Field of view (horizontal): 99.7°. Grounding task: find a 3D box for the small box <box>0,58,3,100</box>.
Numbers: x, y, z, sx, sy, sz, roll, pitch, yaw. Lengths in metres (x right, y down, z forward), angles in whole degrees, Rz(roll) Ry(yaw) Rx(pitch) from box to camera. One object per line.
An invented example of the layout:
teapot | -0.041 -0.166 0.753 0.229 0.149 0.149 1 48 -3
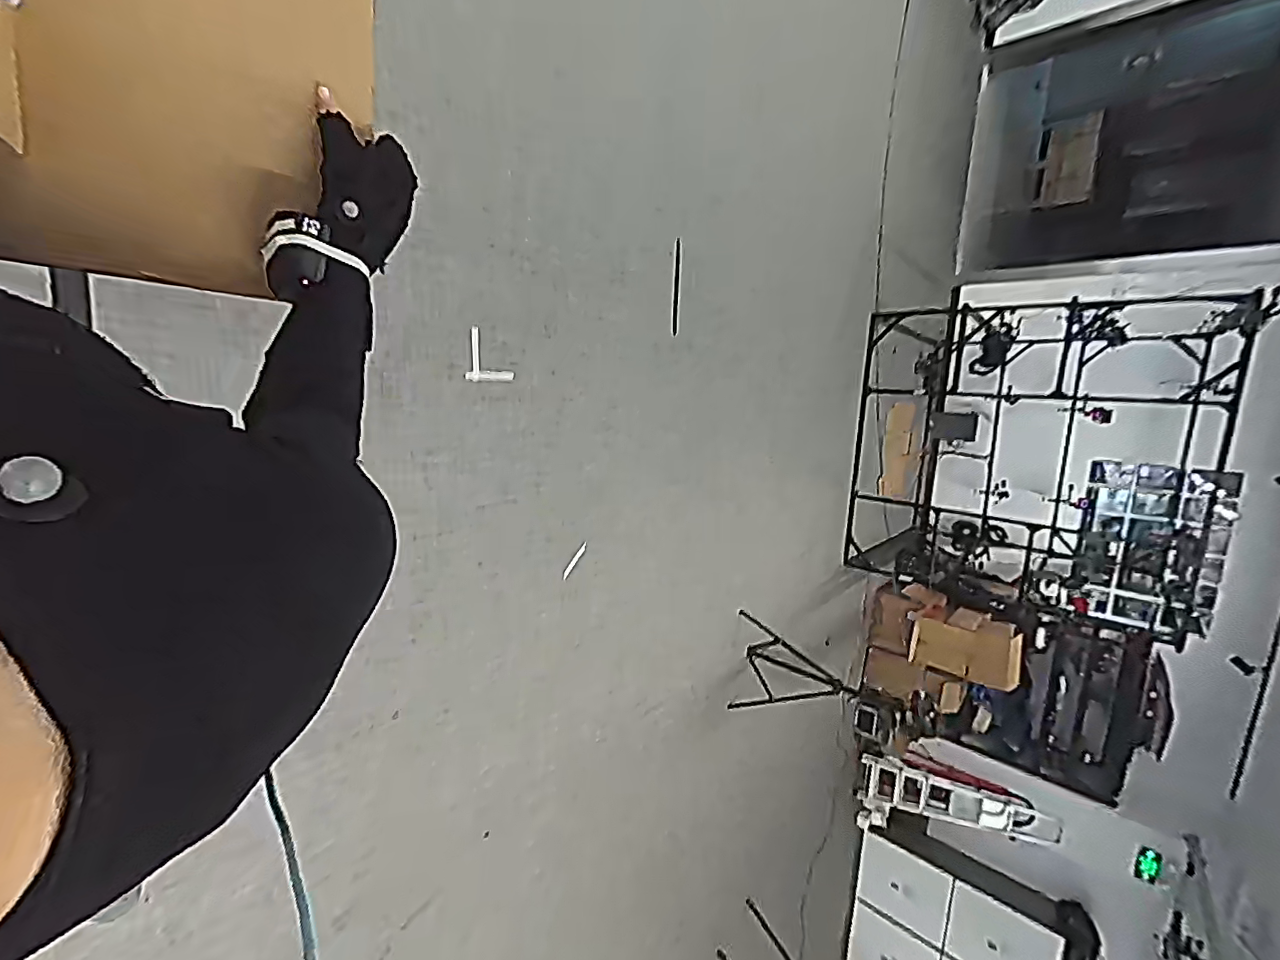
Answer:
small box | -0.456 -0.302 0.260 0.179 0.176 0.168 -1 103 -39
